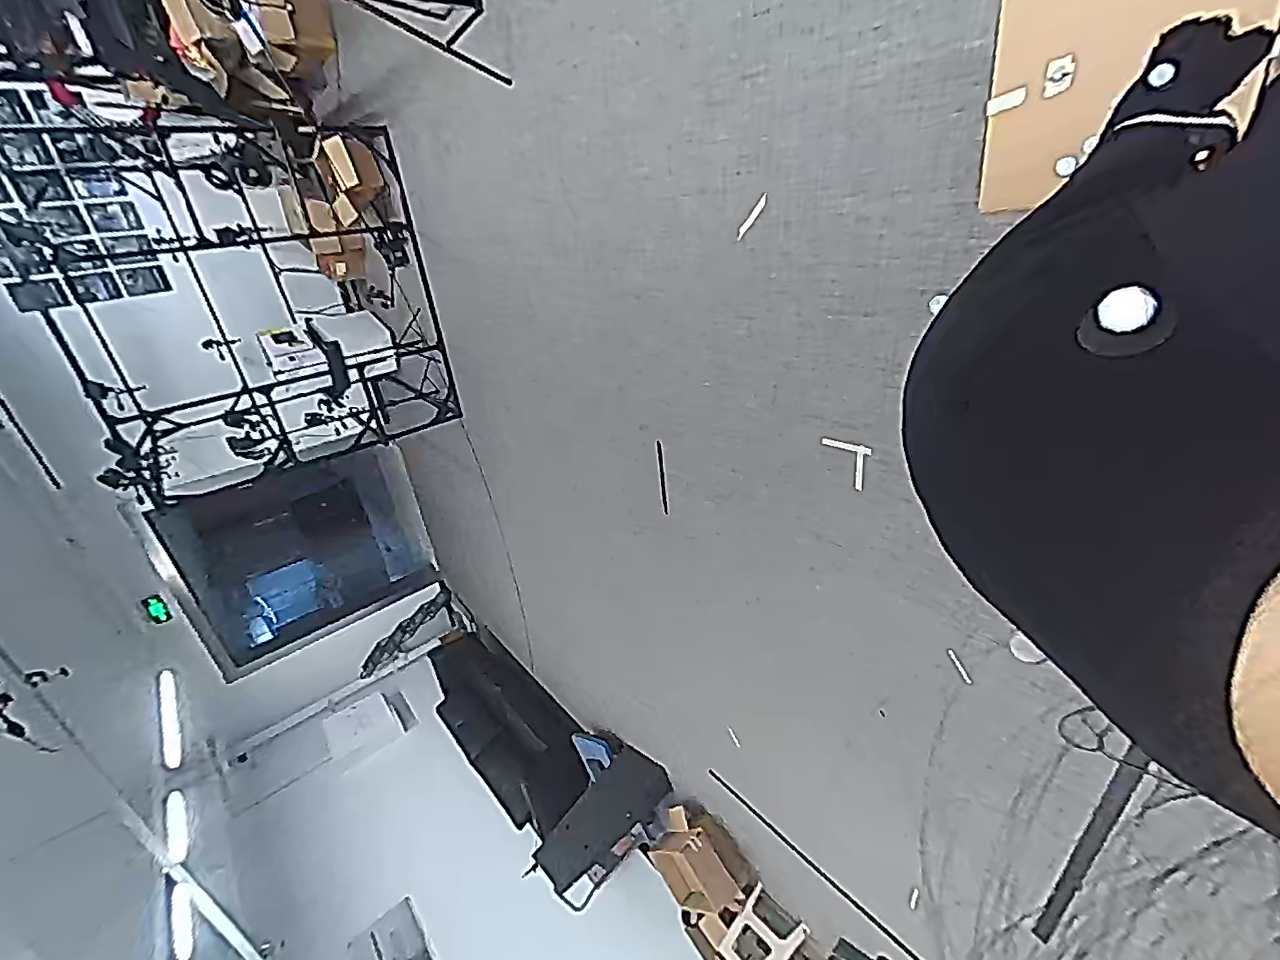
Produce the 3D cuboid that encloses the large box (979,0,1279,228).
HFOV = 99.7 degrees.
[{"bbox_3d":[0.807,-0.619,0.882,0.320,0.408,0.320,21,129,45],"label":"large box"}]
